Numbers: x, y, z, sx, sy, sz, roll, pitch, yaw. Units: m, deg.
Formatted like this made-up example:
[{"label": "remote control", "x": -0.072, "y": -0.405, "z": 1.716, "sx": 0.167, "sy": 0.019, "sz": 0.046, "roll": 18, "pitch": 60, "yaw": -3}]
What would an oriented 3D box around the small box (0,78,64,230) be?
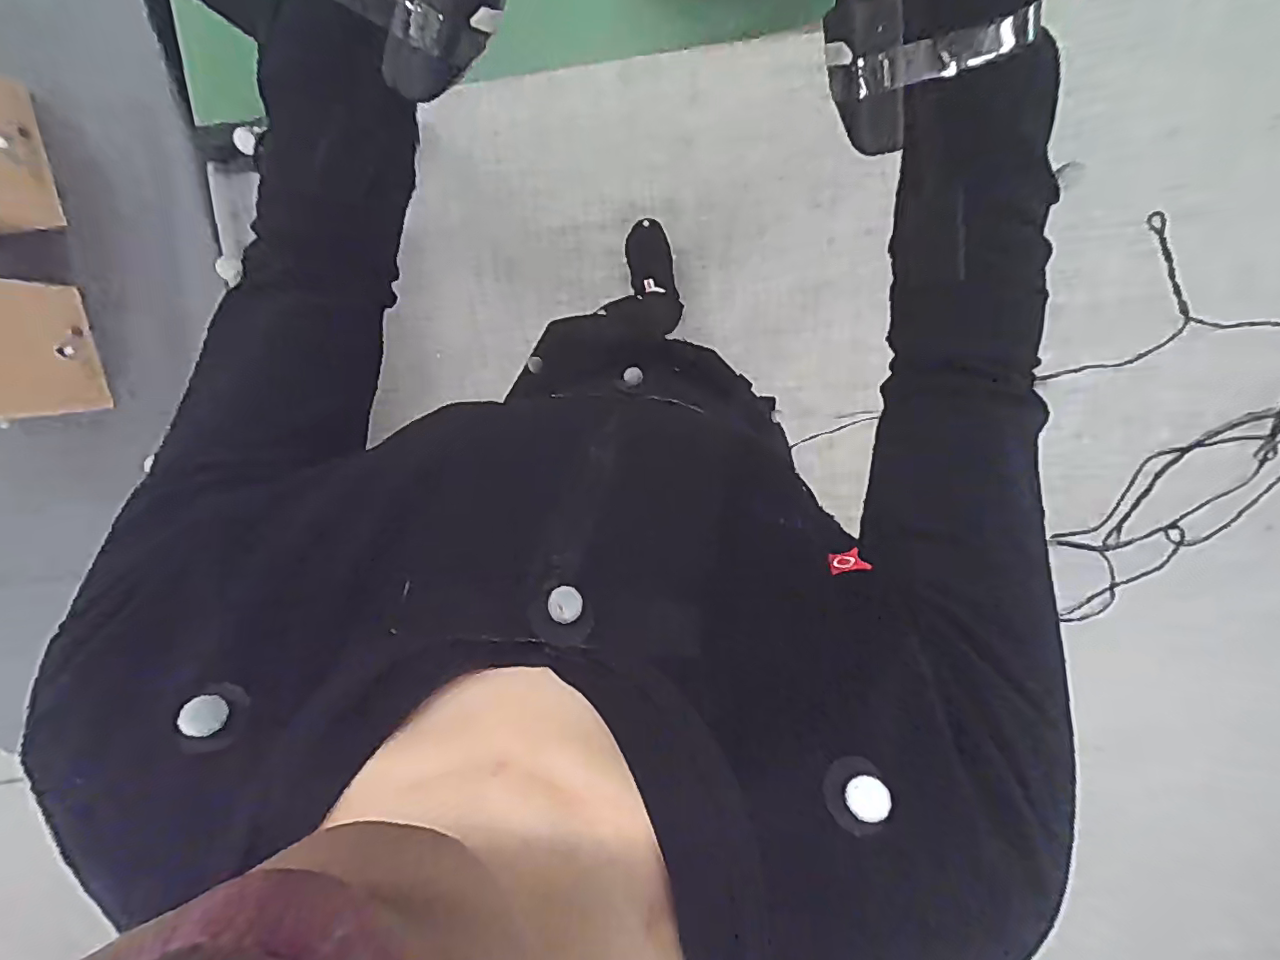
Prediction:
[{"label": "small box", "x": -0.857, "y": -0.395, "z": 0.632, "sx": 0.179, "sy": 0.176, "sz": 0.168, "roll": -3, "pitch": 103, "yaw": 7}]
